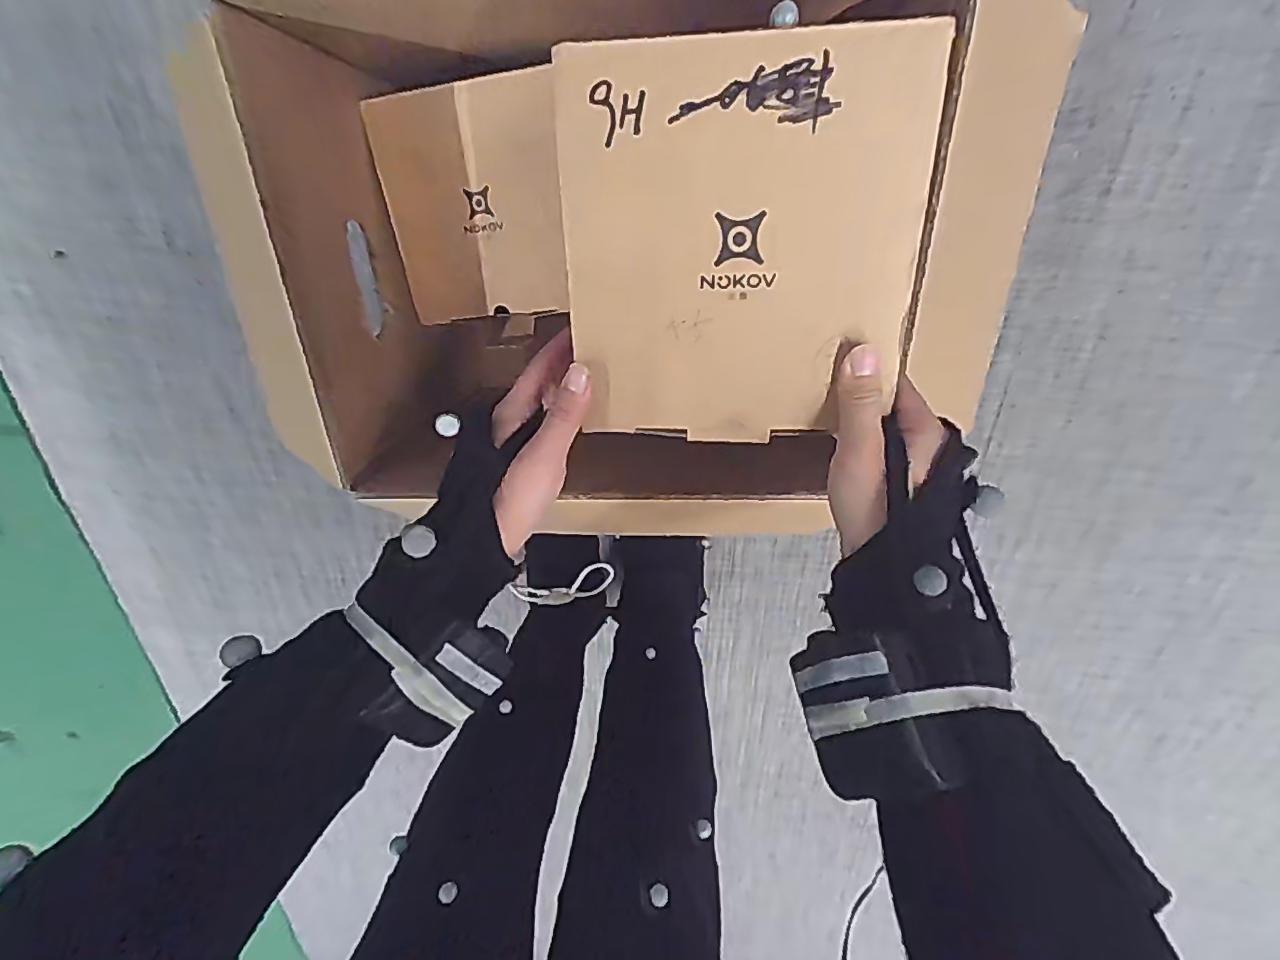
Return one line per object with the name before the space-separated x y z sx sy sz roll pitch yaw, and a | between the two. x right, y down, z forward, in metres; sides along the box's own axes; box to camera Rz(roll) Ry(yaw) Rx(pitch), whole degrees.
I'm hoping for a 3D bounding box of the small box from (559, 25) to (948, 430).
small box | 0.055 -0.142 0.334 0.168 0.176 0.179 1 114 6
